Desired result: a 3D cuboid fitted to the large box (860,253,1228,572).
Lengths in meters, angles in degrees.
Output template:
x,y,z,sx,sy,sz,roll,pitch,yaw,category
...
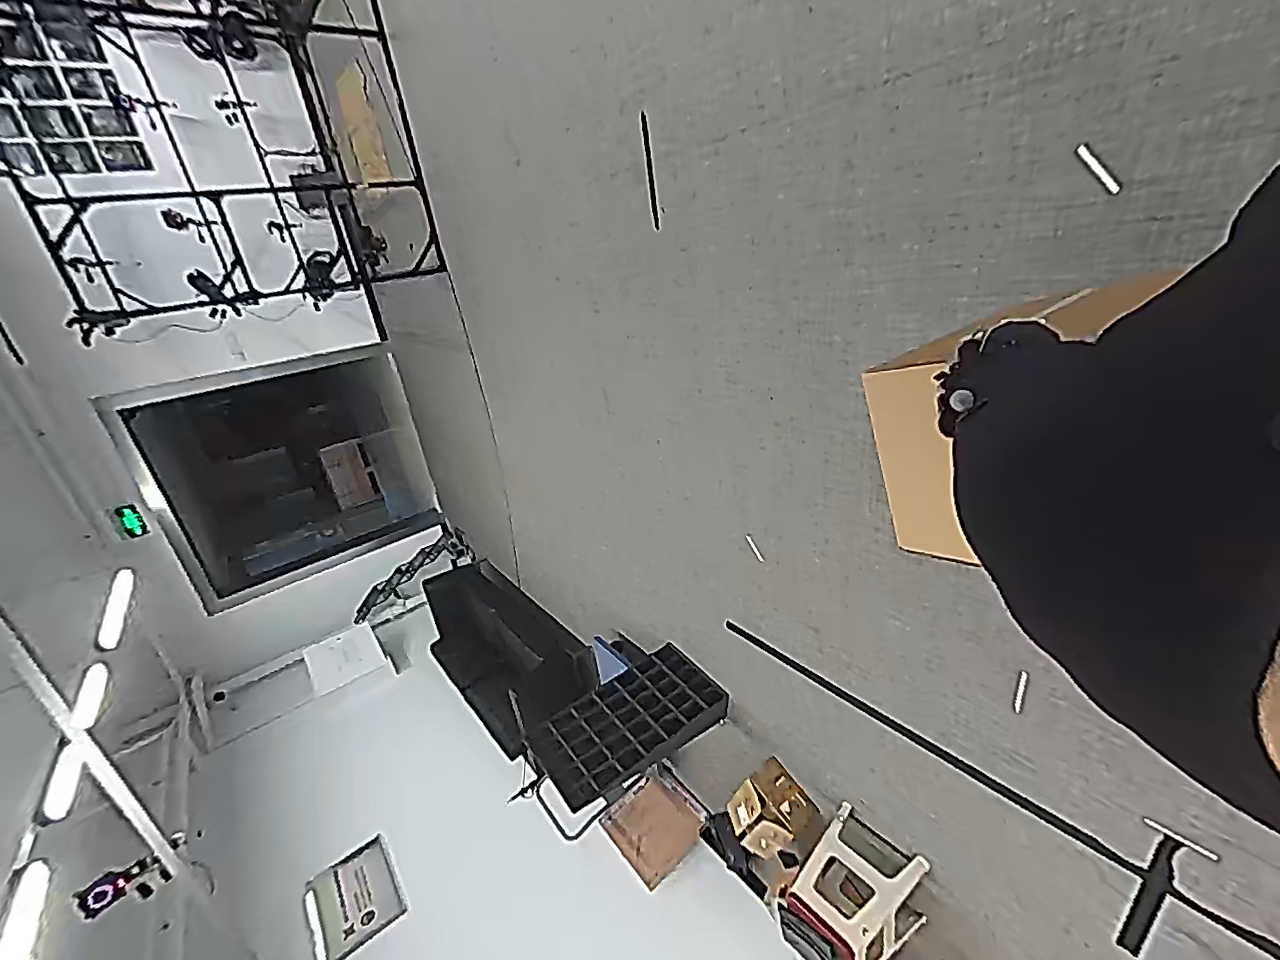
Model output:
x,y,z,sx,sy,sz,roll,pitch,yaw,category
0.623,-0.110,0.835,0.320,0.408,0.320,7,120,62,large box
